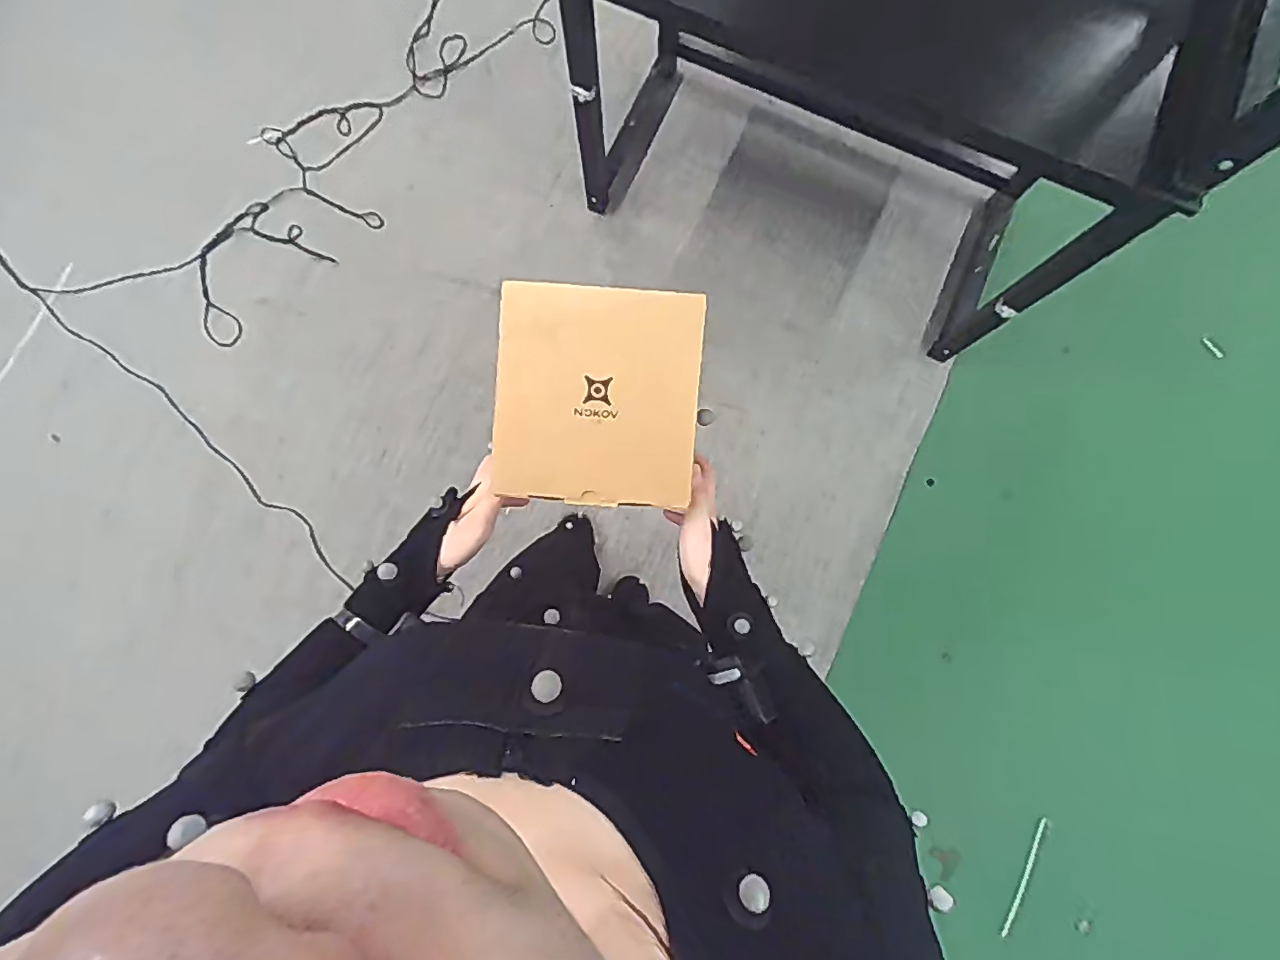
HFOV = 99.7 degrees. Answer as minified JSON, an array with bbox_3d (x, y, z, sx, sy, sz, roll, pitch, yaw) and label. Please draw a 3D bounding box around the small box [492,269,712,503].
[{"bbox_3d":[-0.032,-0.078,0.508,0.168,0.176,0.179,4,94,0],"label":"small box"}]
